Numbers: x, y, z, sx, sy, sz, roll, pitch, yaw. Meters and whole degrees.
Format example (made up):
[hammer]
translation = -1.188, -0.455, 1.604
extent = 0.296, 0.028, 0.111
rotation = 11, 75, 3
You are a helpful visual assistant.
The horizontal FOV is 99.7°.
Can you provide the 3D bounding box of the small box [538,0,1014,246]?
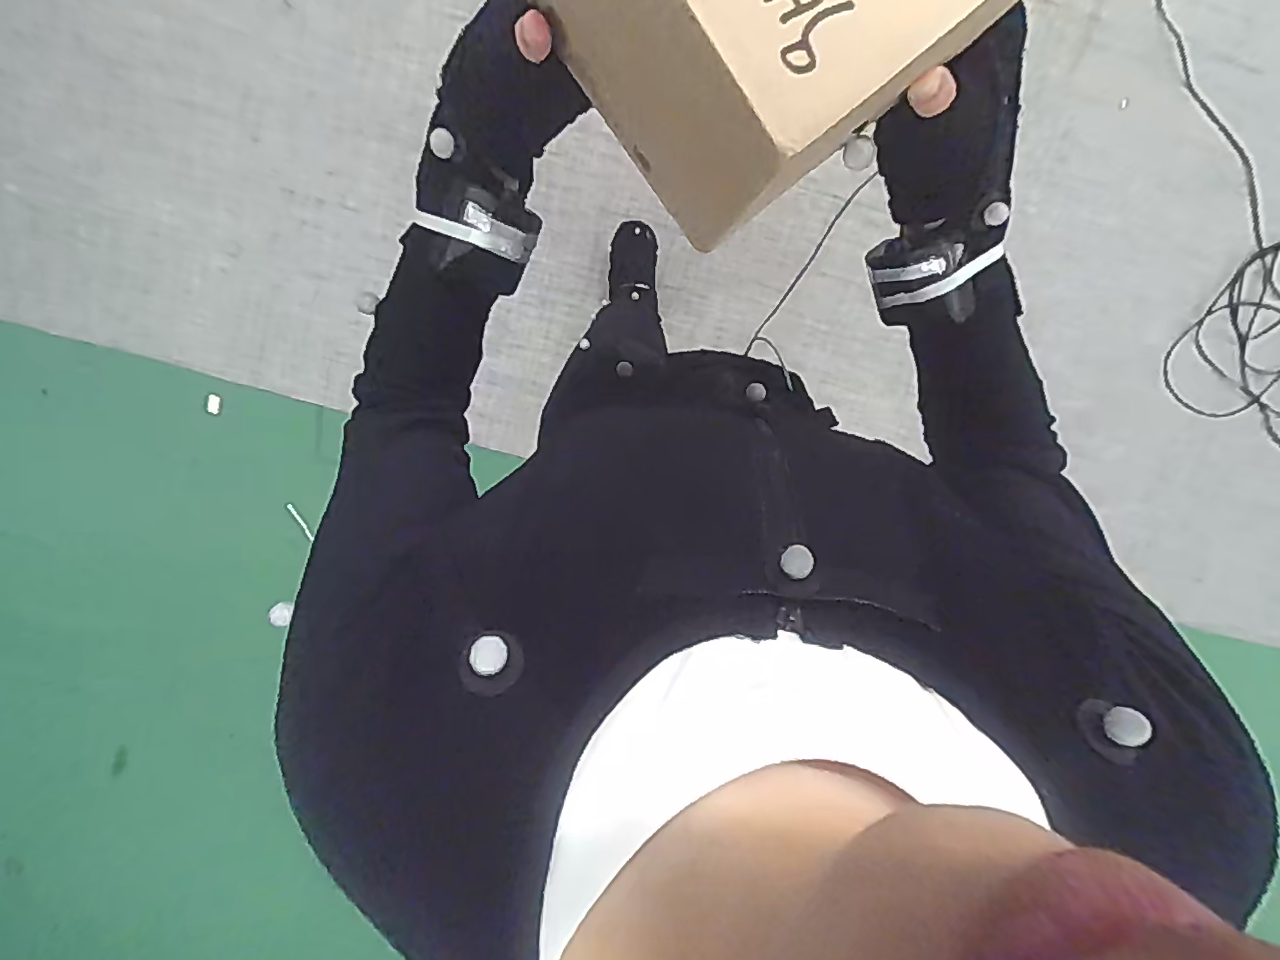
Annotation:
[small box]
translation = 0.059, -0.229, 0.218
extent = 0.179, 0.176, 0.168
rotation = -38, 101, 5
